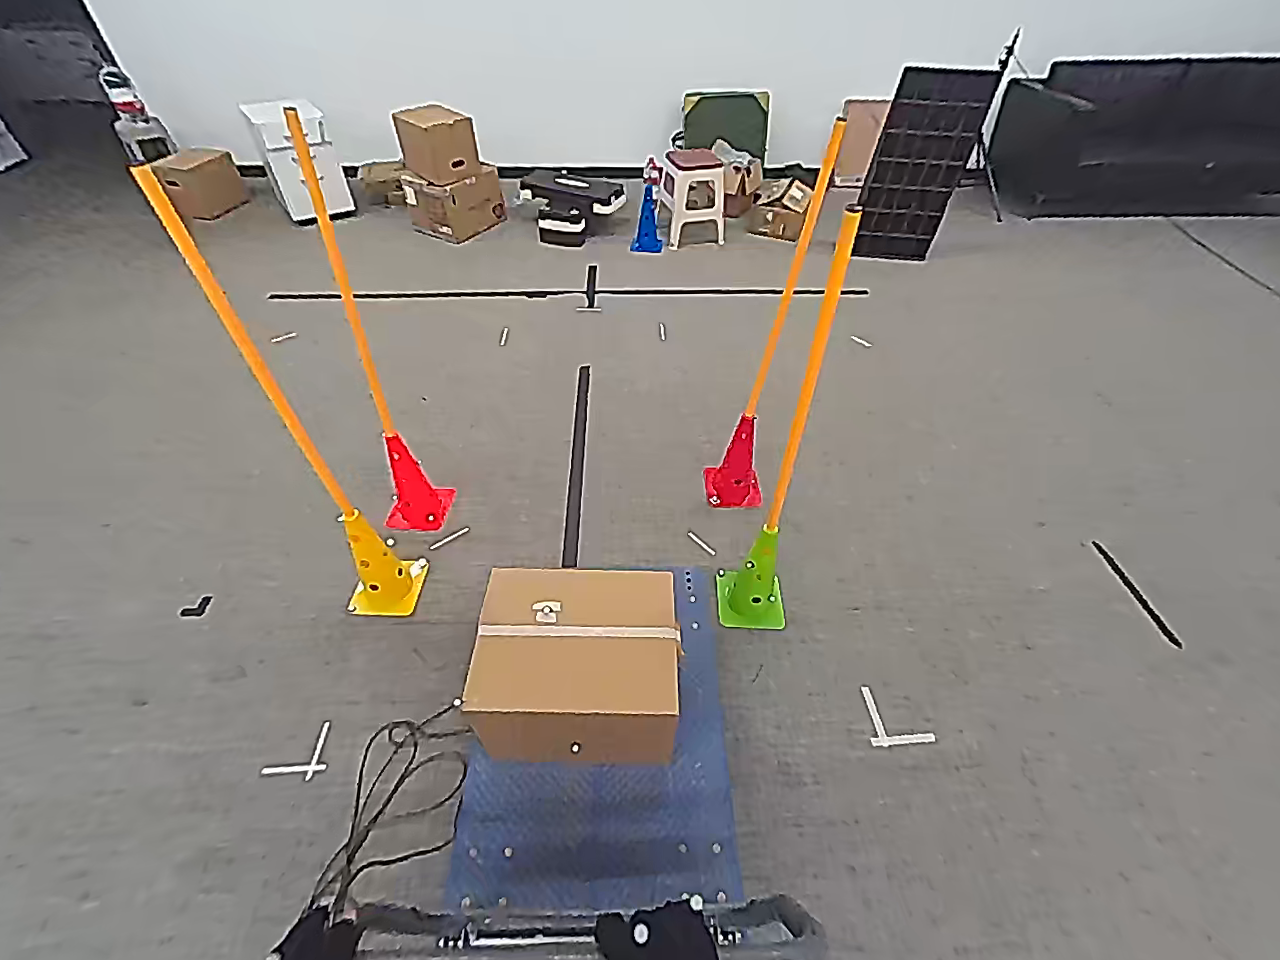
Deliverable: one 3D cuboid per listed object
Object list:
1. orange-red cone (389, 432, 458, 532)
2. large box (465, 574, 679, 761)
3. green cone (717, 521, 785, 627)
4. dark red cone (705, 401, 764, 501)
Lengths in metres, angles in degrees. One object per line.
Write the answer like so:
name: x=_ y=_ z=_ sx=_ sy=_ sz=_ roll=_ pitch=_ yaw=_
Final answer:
orange-red cone: x=-0.768 y=-0.017 z=1.821 sx=0.198 sy=0.360 sz=0.199 roll=5 pitch=45 yaw=3
large box: x=-0.125 y=0.422 z=1.207 sx=0.408 sy=0.320 sz=0.320 roll=1 pitch=46 yaw=1
green cone: x=0.354 y=0.252 z=1.580 sx=0.202 sy=0.368 sz=0.200 roll=3 pitch=46 yaw=0
dark red cone: x=0.359 y=-0.109 z=1.904 sx=0.201 sy=0.394 sz=0.202 roll=1 pitch=46 yaw=-3
